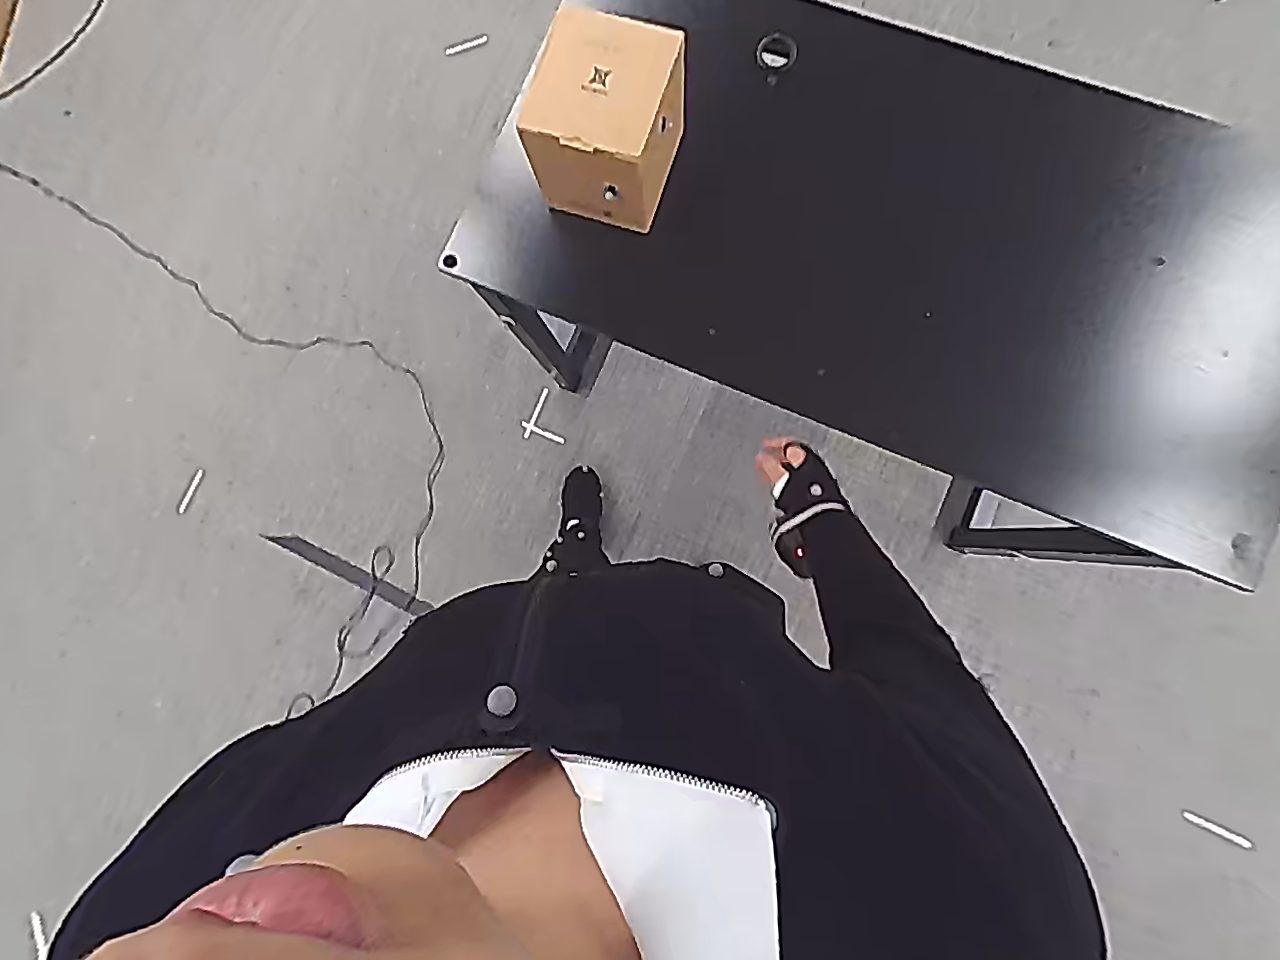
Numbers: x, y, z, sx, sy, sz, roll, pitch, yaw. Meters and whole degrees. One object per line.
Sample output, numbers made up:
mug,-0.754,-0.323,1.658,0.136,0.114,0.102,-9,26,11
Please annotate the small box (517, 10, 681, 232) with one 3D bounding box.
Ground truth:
small box,-0.046,-0.479,0.748,0.168,0.176,0.179,18,85,5
